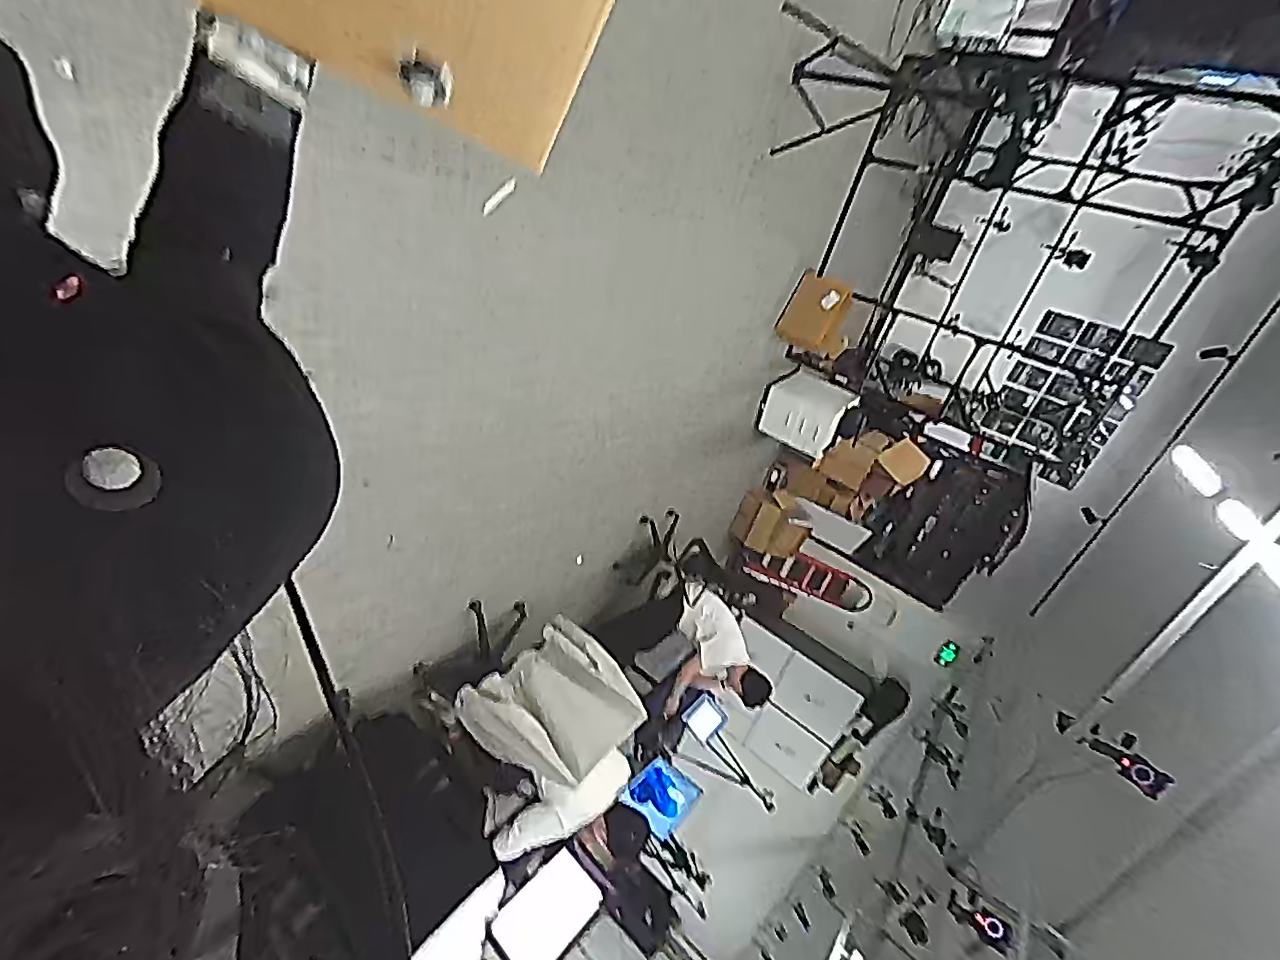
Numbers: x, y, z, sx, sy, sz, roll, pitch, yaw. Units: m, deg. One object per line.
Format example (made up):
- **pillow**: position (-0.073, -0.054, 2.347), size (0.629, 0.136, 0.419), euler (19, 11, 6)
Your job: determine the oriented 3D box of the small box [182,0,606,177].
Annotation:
- **small box**: position (-0.083, -0.289, 0.230), size (0.176, 0.168, 0.179), euler (-30, -132, 57)
